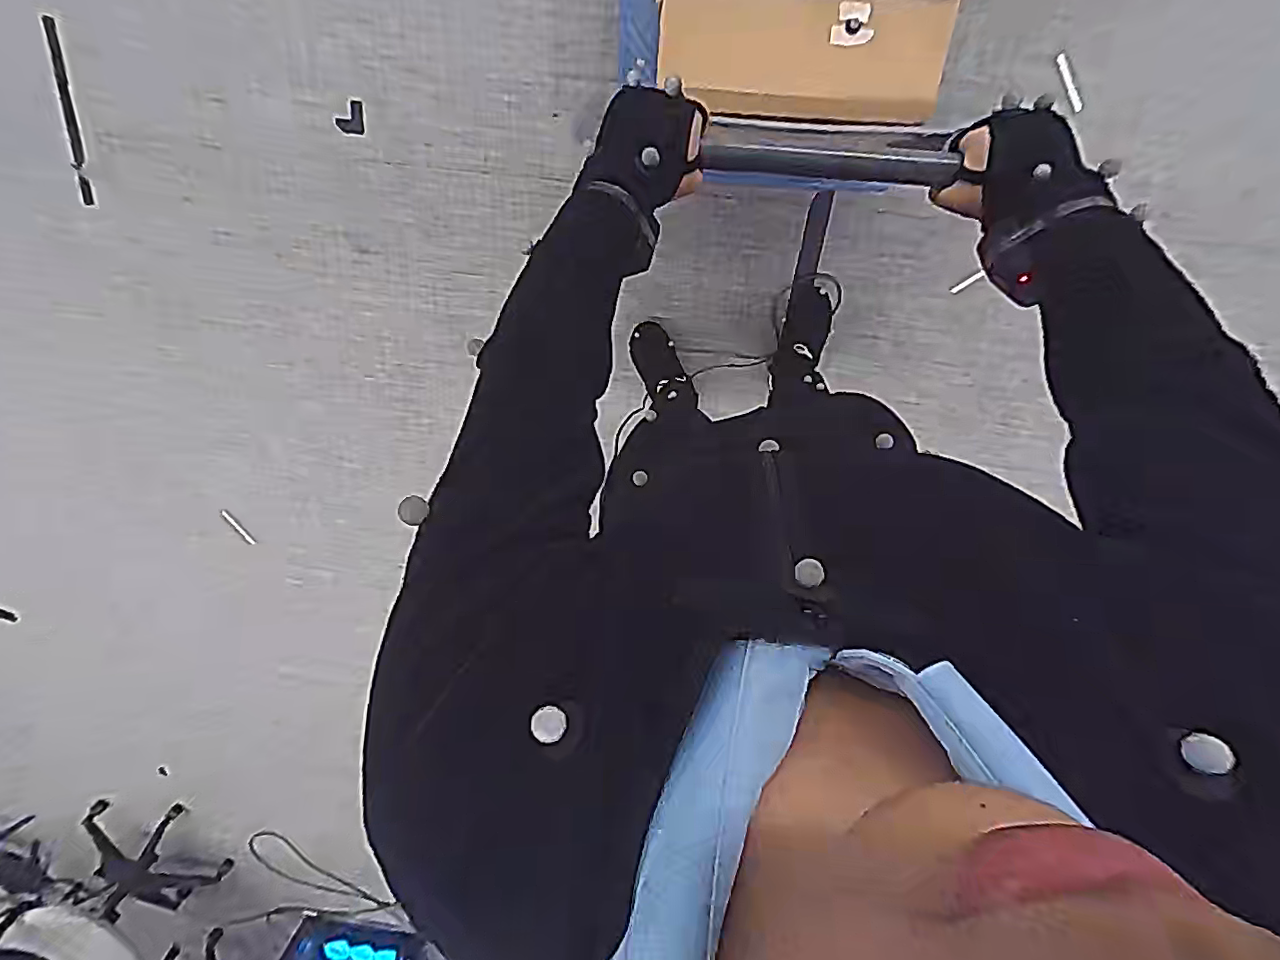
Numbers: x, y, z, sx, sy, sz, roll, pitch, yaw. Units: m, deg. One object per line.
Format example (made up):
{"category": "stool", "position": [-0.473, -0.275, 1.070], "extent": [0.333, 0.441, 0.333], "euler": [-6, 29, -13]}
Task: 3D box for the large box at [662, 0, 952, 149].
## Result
{"category": "large box", "position": [0.246, -0.749, 0.888], "extent": [0.408, 0.320, 0.320], "euler": [5, 116, 2]}
